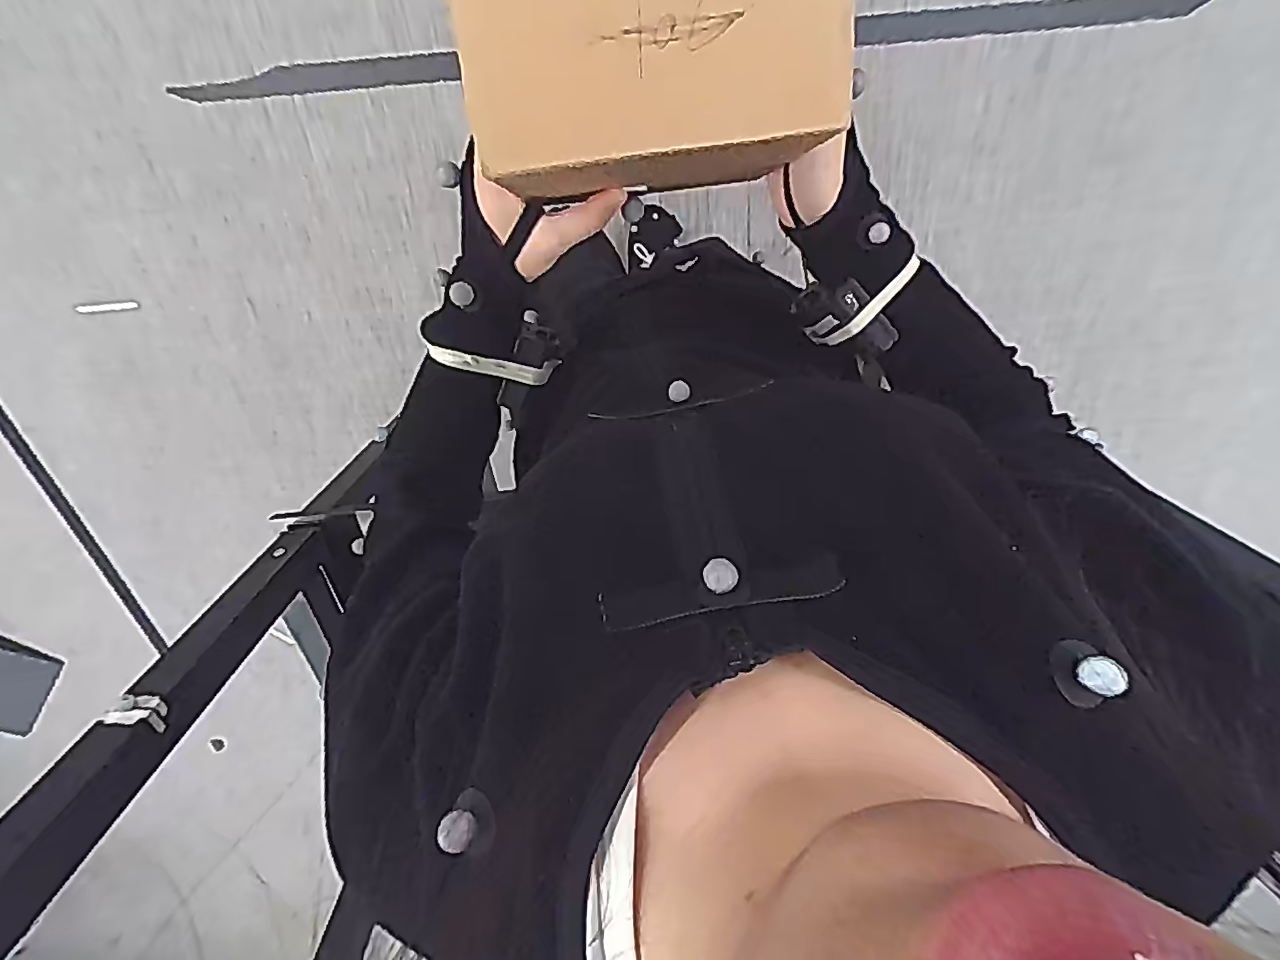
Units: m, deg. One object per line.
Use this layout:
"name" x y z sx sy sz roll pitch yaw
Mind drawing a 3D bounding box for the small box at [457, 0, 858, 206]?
"small box" 0.000 -0.254 0.280 0.168 0.176 0.179 -7 113 0
